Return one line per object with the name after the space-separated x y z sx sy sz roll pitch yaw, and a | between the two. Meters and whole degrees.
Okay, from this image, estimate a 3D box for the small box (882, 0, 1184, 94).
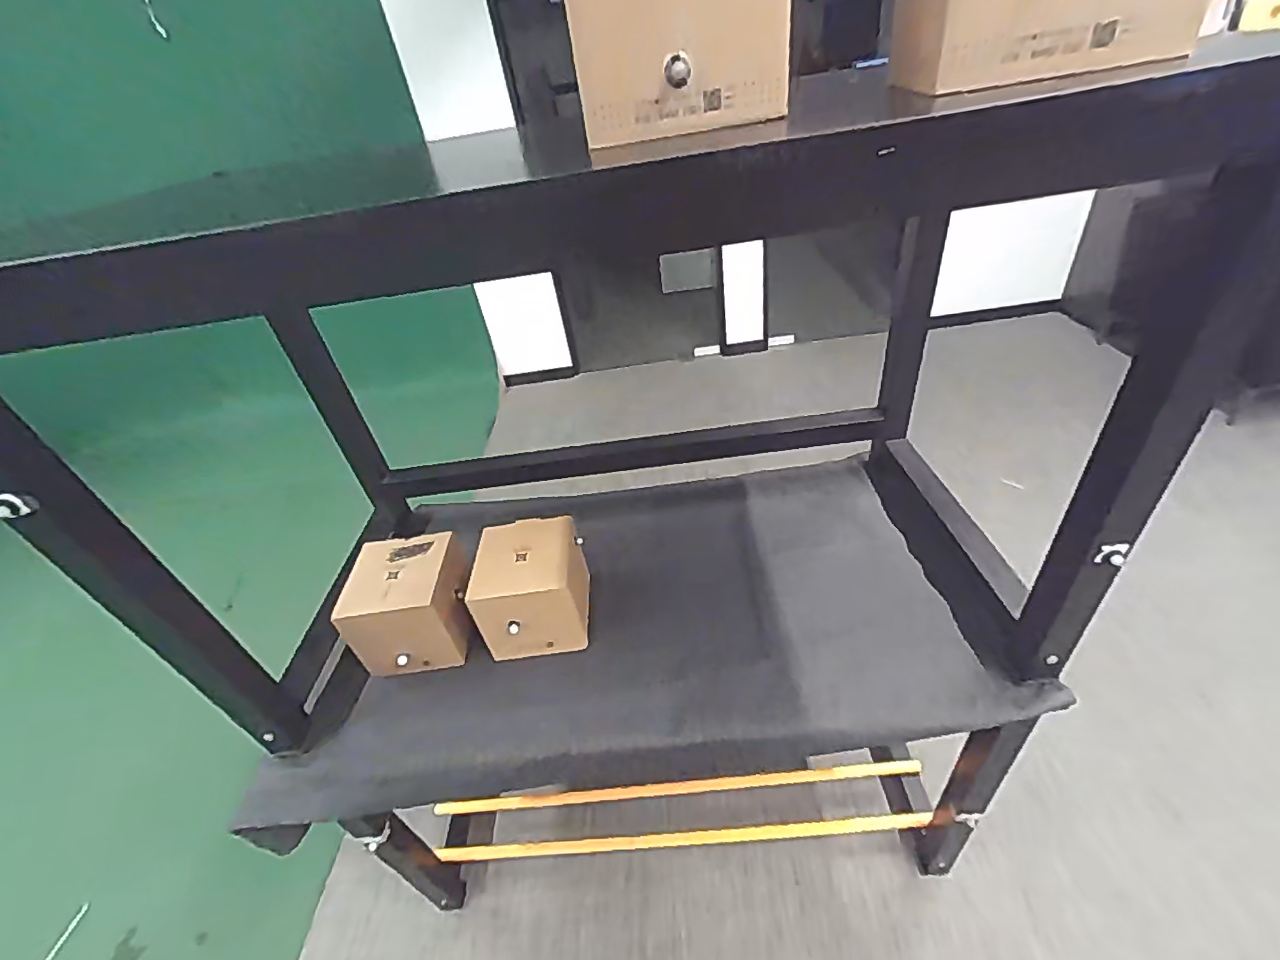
0.290 -0.405 0.406 0.168 0.176 0.179 -1 37 12 | small box

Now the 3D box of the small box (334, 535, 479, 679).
-0.401 0.226 0.969 0.168 0.176 0.179 -9 37 2 | small box
